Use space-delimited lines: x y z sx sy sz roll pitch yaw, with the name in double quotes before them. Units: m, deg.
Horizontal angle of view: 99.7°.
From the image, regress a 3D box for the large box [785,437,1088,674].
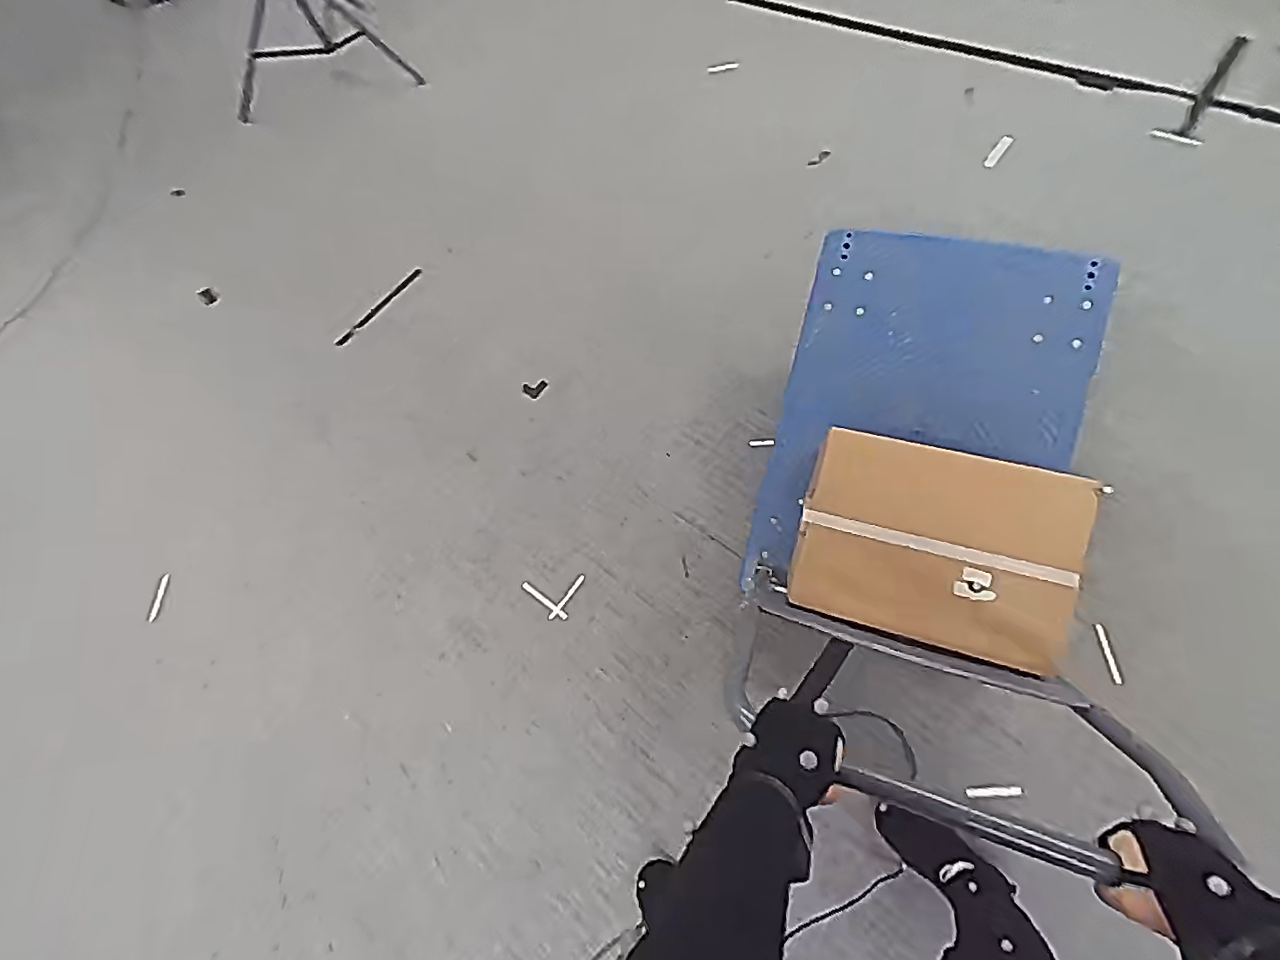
"large box" 0.512 0.122 1.033 0.408 0.320 0.320 14 91 14
